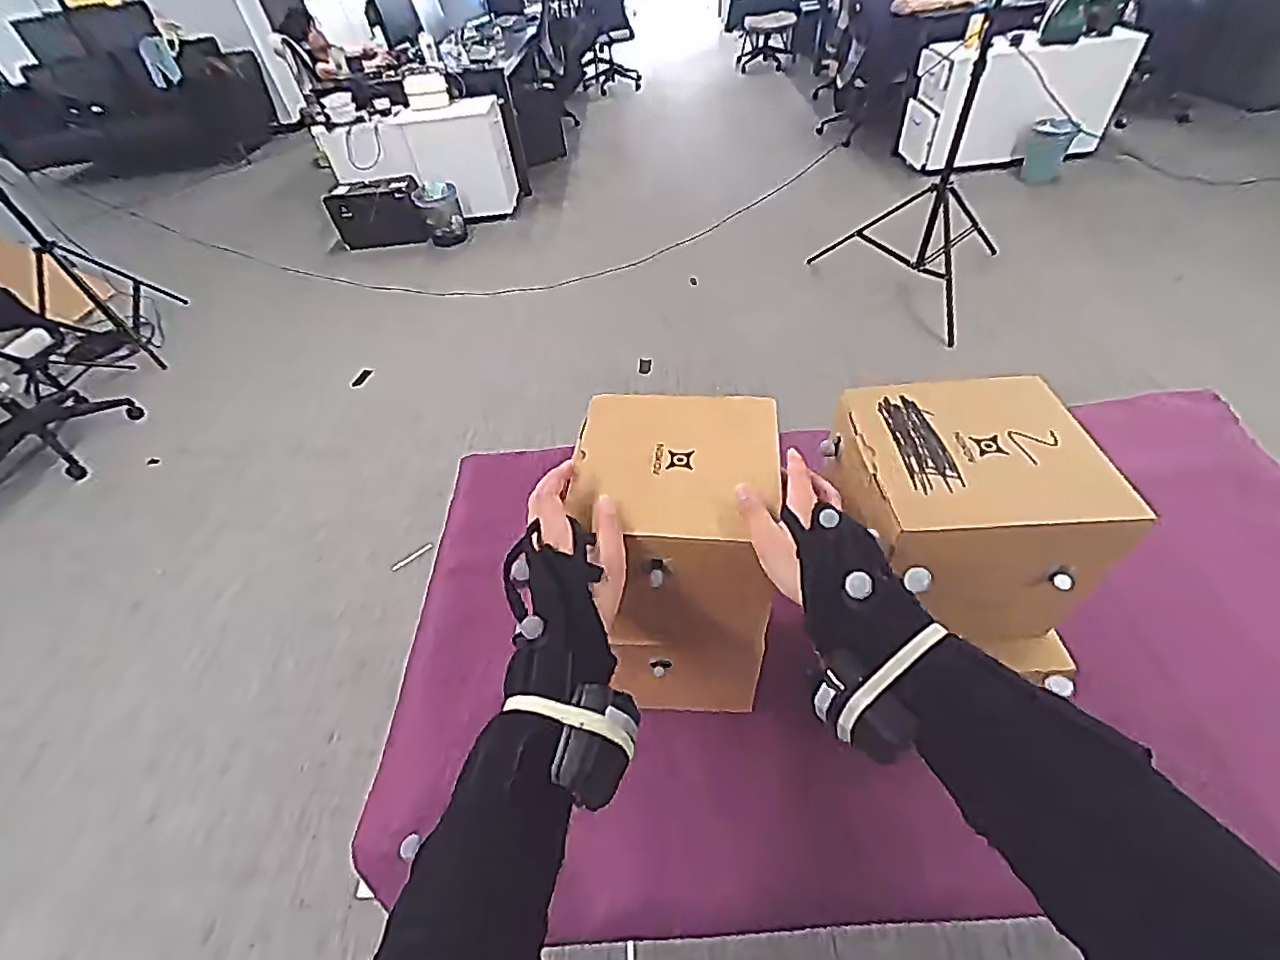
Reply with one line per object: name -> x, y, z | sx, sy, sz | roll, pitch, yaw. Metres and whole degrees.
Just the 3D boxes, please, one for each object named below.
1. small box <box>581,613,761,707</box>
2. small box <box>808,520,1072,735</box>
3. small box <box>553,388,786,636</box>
small box -> 0.040, 0.148, 0.624 | 0.179, 0.176, 0.168 | 0, 47, 5
small box -> 0.295, 0.161, 0.582 | 0.179, 0.176, 0.168 | -3, 46, 3
small box -> 0.035, 0.032, 0.510 | 0.179, 0.176, 0.168 | 2, 47, 8
